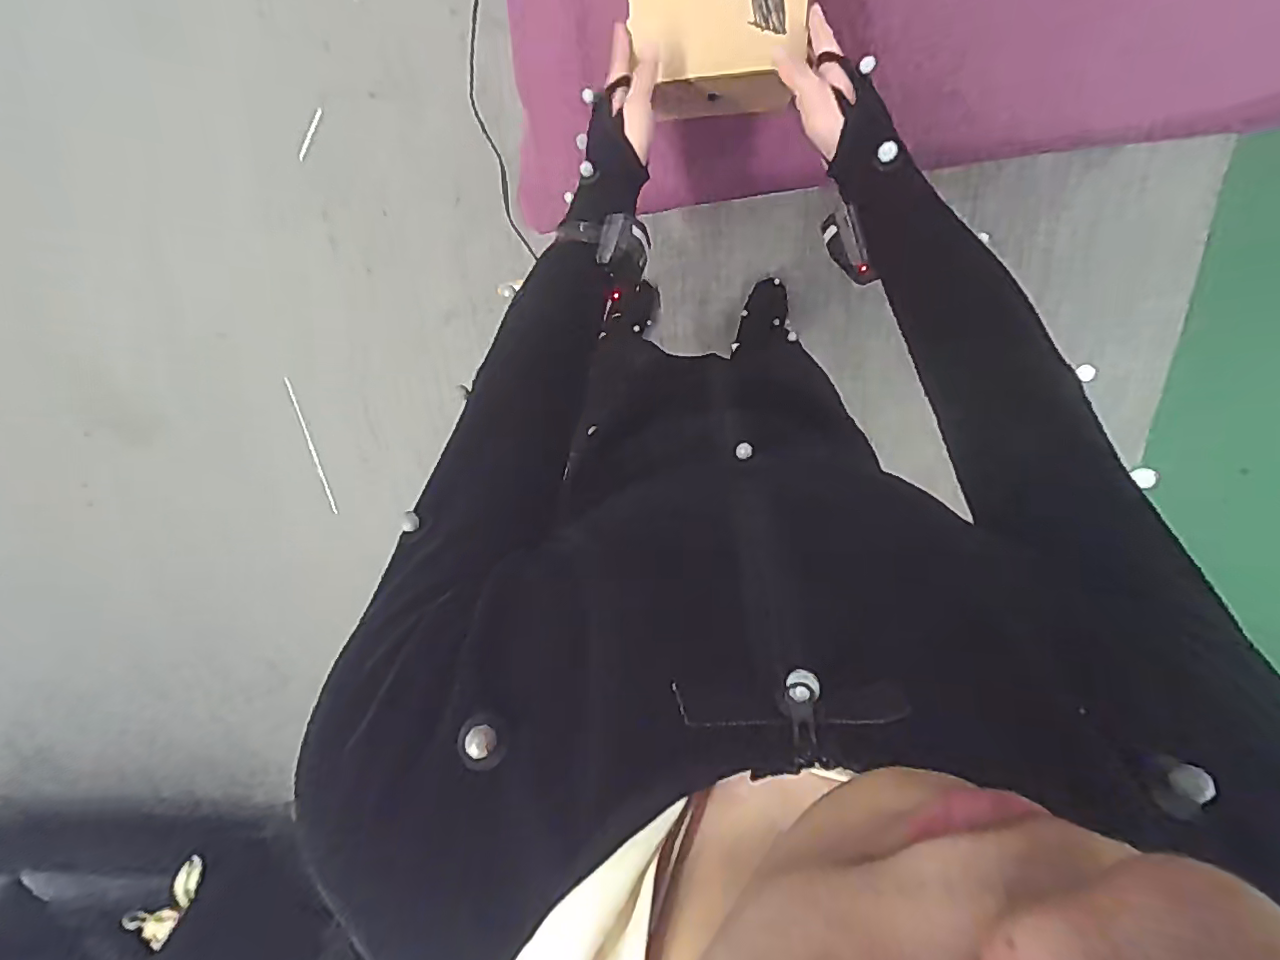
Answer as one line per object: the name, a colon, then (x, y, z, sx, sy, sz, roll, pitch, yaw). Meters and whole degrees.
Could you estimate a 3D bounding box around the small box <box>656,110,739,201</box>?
small box: (0.138, -0.758, 1.264, 0.179, 0.176, 0.168, -4, 113, 8)

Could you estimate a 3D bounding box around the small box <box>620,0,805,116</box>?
small box: (0.077, -0.508, 0.577, 0.179, 0.176, 0.168, 0, 112, 10)

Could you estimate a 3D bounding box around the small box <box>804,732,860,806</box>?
small box: (0.703, 1.062, 1.991, 0.168, 0.176, 0.179, -4, 113, 8)
